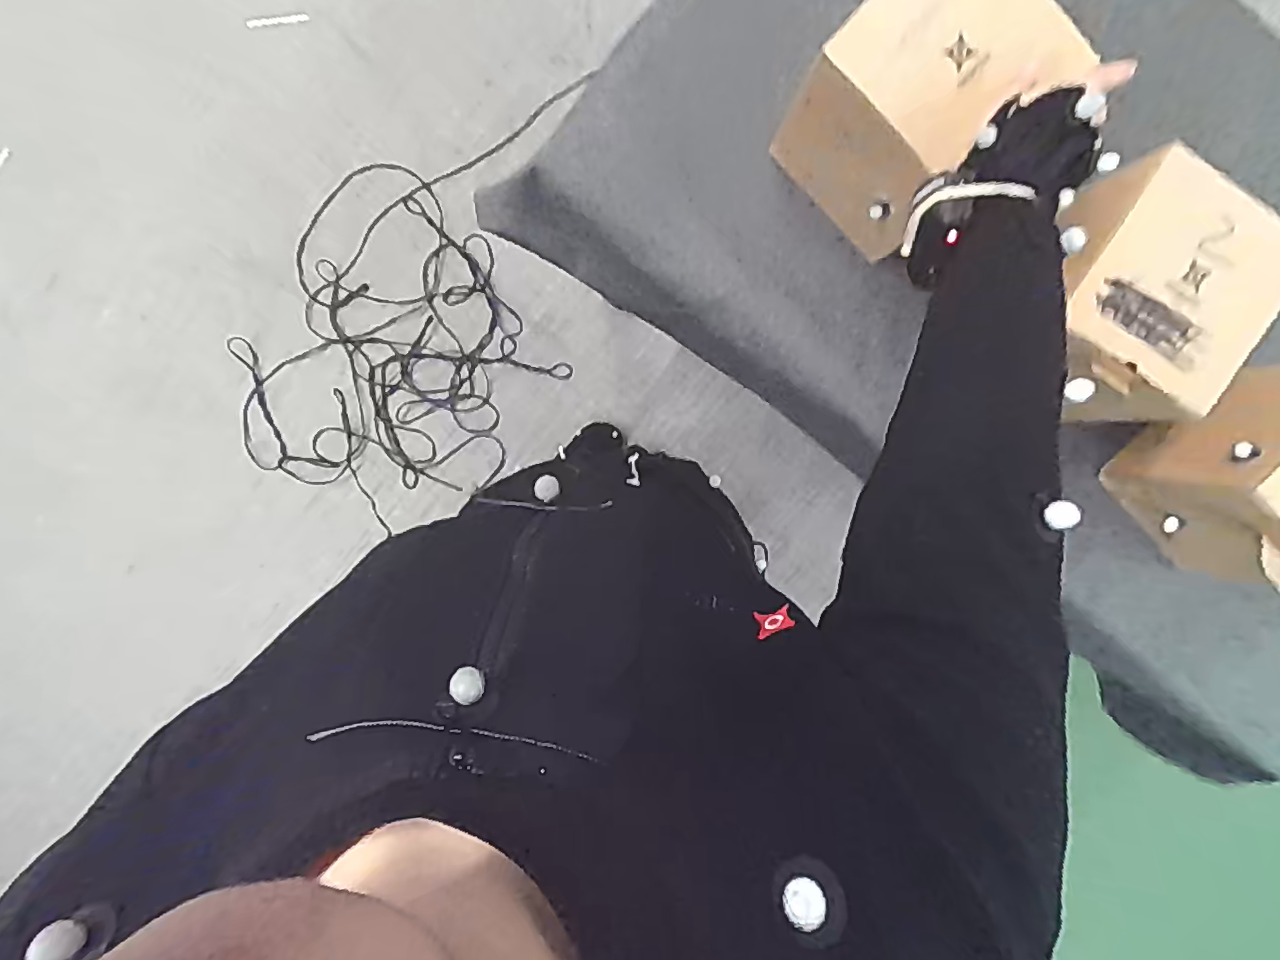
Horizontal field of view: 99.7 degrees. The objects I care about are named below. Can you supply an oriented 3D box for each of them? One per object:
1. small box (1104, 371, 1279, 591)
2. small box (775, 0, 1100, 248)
[{"bbox_3d":[0.668,-0.004,0.575,0.179,0.176,0.168,-45,96,4],"label":"small box"},{"bbox_3d":[0.264,-0.355,0.524,0.179,0.176,0.168,44,92,-5],"label":"small box"}]
